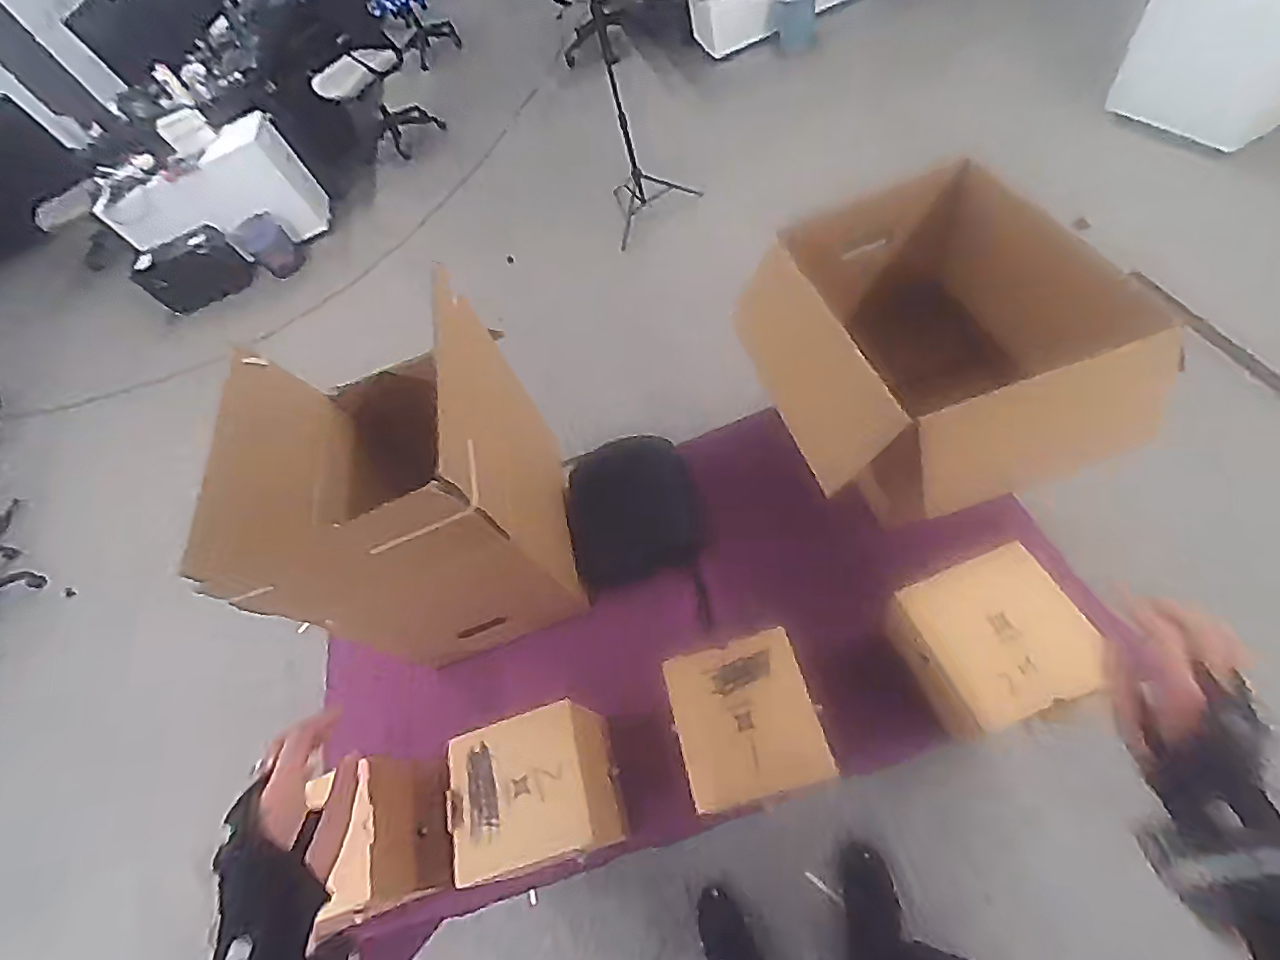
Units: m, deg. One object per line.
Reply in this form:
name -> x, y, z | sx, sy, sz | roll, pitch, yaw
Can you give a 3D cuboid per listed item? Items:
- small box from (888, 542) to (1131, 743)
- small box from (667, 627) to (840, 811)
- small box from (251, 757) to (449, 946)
small box -> 0.439, 0.212, 0.685 | 0.168, 0.176, 0.179 | -24, 56, 4
small box -> 0.146, 0.320, 0.713 | 0.168, 0.176, 0.179 | -19, 57, 6
small box -> -0.398, 0.516, 0.765 | 0.179, 0.176, 0.168 | -23, 56, 1
